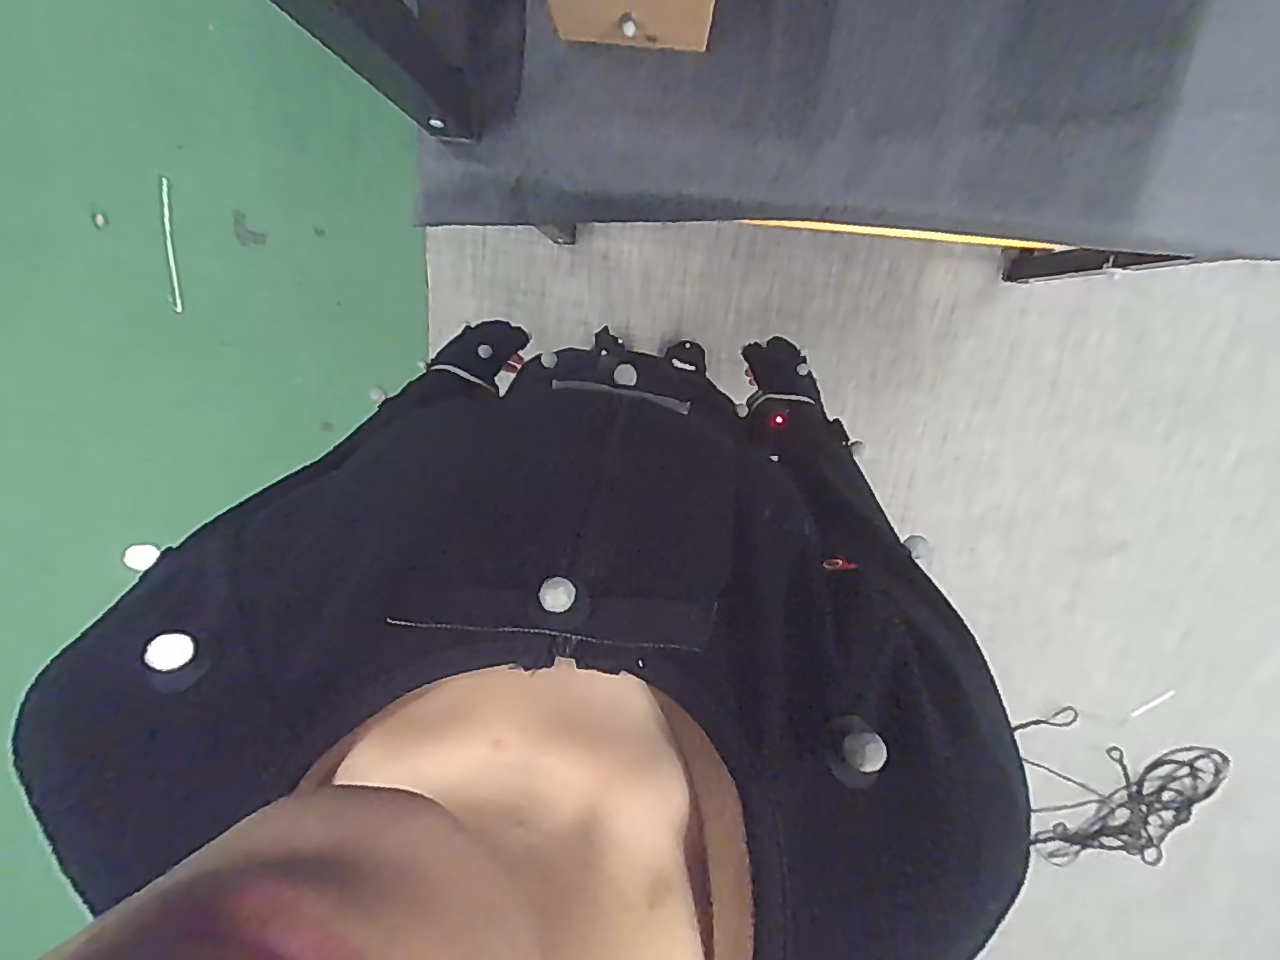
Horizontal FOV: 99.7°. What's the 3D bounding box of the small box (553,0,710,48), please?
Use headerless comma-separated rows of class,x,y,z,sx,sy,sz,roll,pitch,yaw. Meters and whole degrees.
small box,-0.007,-0.549,0.498,0.168,0.176,0.179,5,105,1

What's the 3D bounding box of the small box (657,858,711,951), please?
small box,0.142,1.402,1.791,0.168,0.176,0.179,2,104,1
